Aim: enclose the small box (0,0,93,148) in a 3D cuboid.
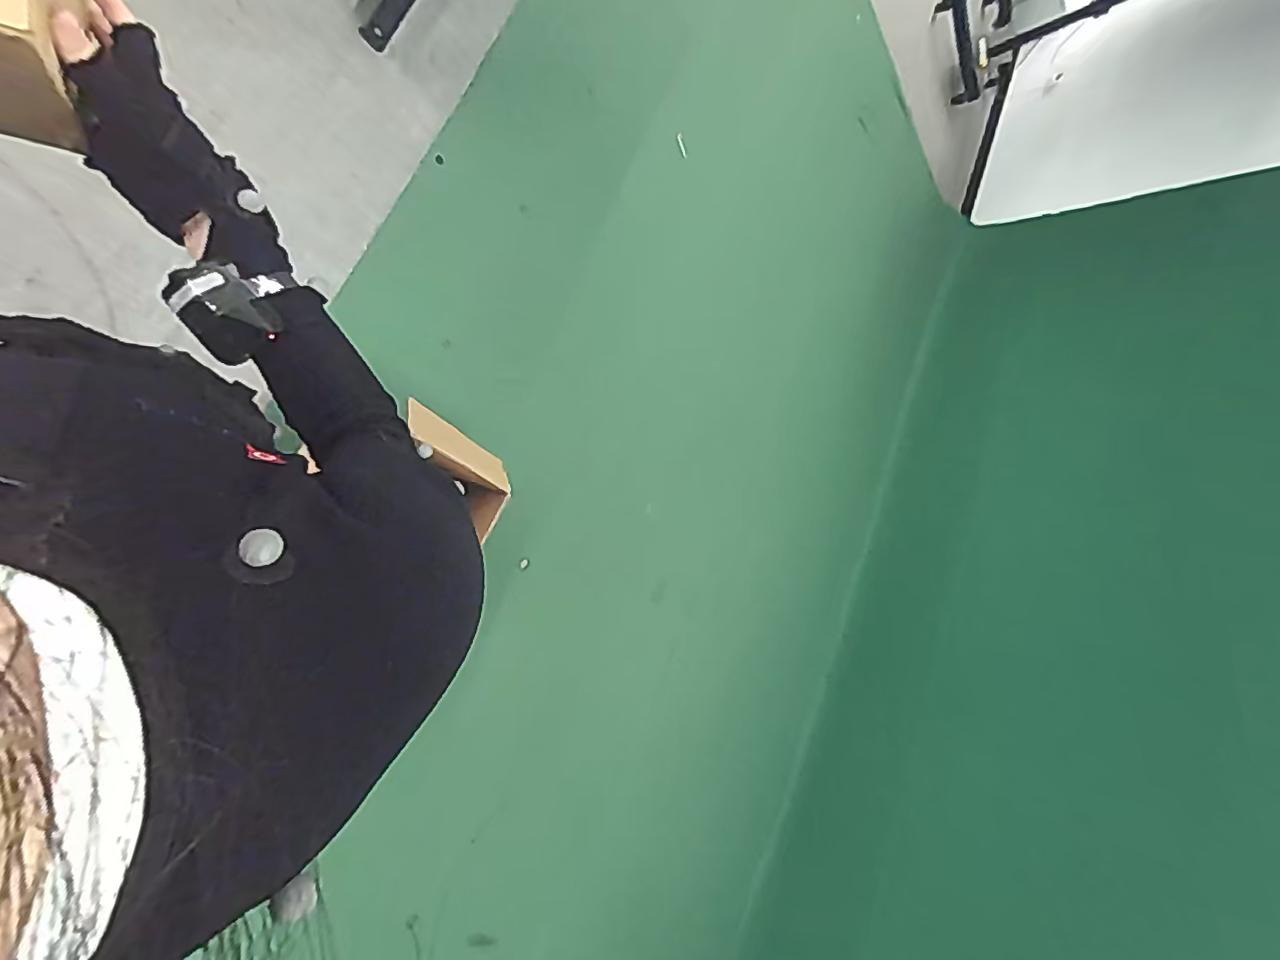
[{"bbox_3d":[-0.427,-0.323,0.293,0.168,0.176,0.179,-1,99,-38],"label":"small box"}]
